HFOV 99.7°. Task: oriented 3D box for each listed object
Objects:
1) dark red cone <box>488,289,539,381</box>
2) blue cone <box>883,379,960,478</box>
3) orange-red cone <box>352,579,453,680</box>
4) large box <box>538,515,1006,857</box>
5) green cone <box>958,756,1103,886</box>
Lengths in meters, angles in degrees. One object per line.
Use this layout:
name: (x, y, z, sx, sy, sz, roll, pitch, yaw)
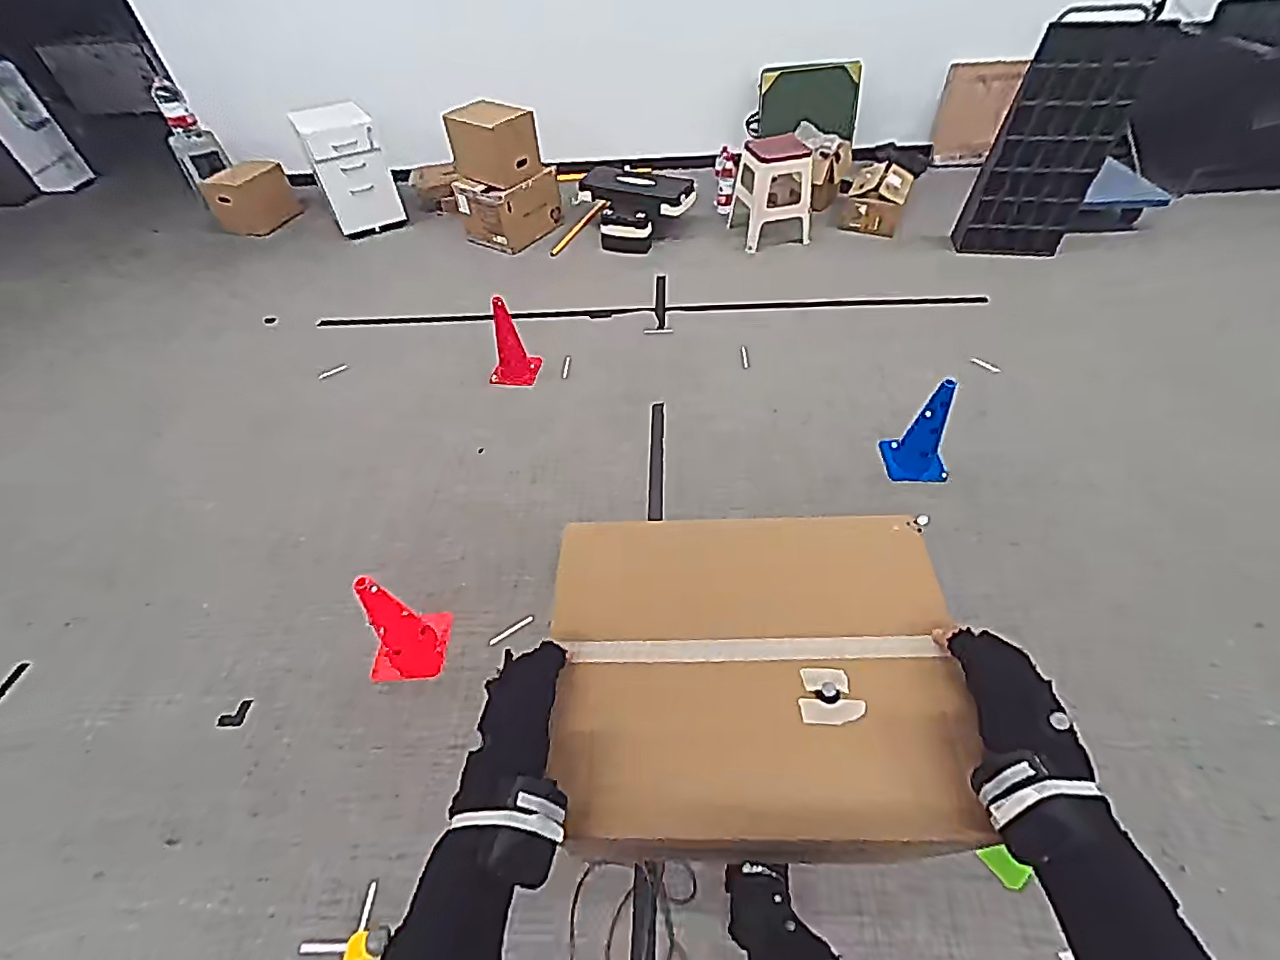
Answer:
dark red cone: (-0.565, -0.615, 2.283, 0.201, 0.394, 0.202, 4, 49, 6)
blue cone: (0.988, -0.185, 1.841, 0.192, 0.380, 0.193, 2, 49, 4)
orange-red cone: (-0.665, 0.372, 1.441, 0.198, 0.360, 0.199, -4, 50, 2)
large box: (0.115, 0.260, 0.663, 0.408, 0.320, 0.320, -2, 52, 3)
green cone: (0.807, 0.642, 1.091, 0.202, 0.368, 0.200, -29, 53, -22)
